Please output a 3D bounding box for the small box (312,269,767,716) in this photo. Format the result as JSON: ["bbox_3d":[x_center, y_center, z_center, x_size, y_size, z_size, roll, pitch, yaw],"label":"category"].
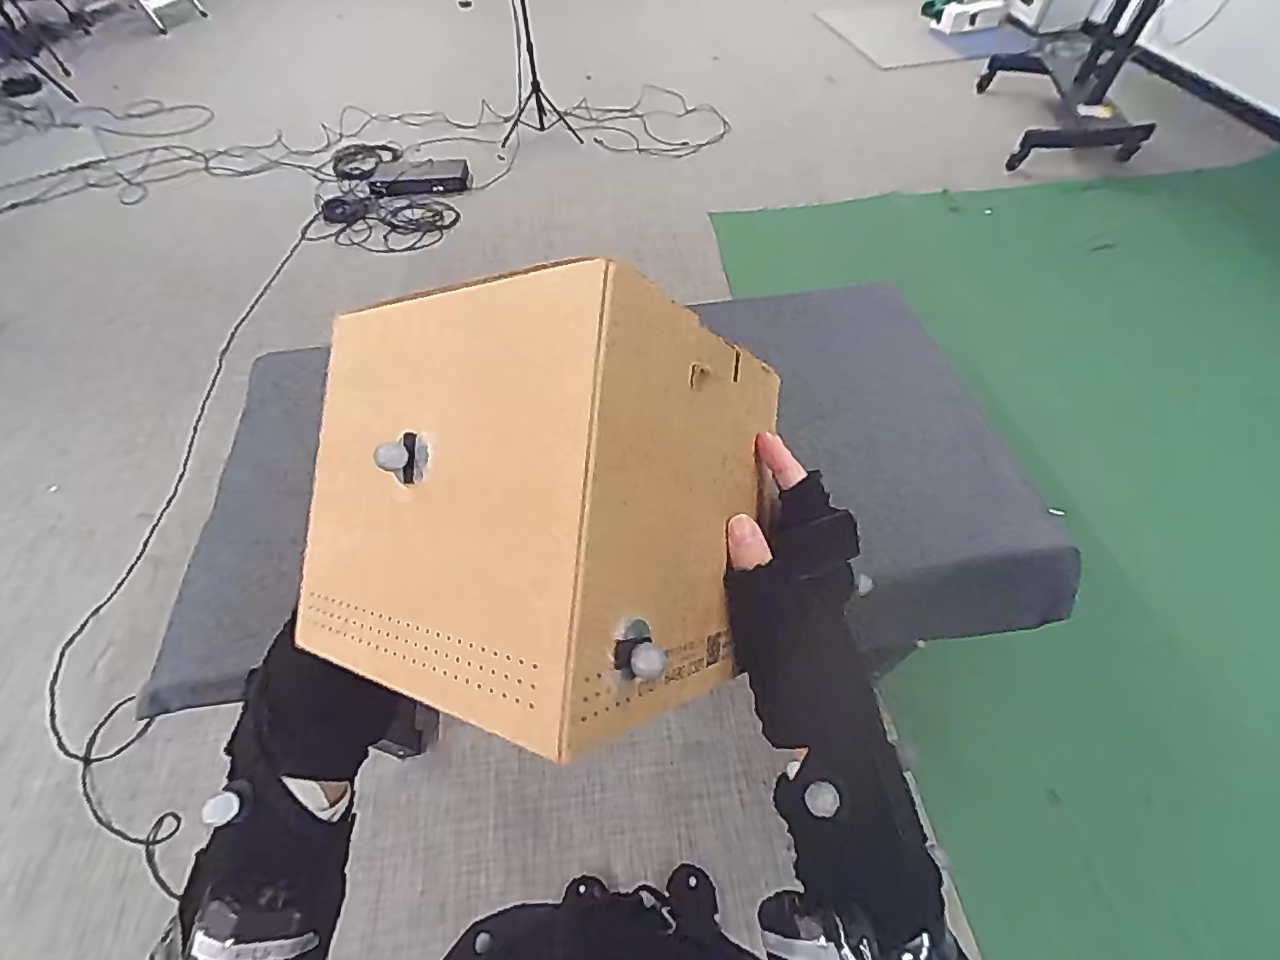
[{"bbox_3d":[-0.047,0.010,0.295,0.179,0.168,0.176,3,86,32],"label":"small box"}]
